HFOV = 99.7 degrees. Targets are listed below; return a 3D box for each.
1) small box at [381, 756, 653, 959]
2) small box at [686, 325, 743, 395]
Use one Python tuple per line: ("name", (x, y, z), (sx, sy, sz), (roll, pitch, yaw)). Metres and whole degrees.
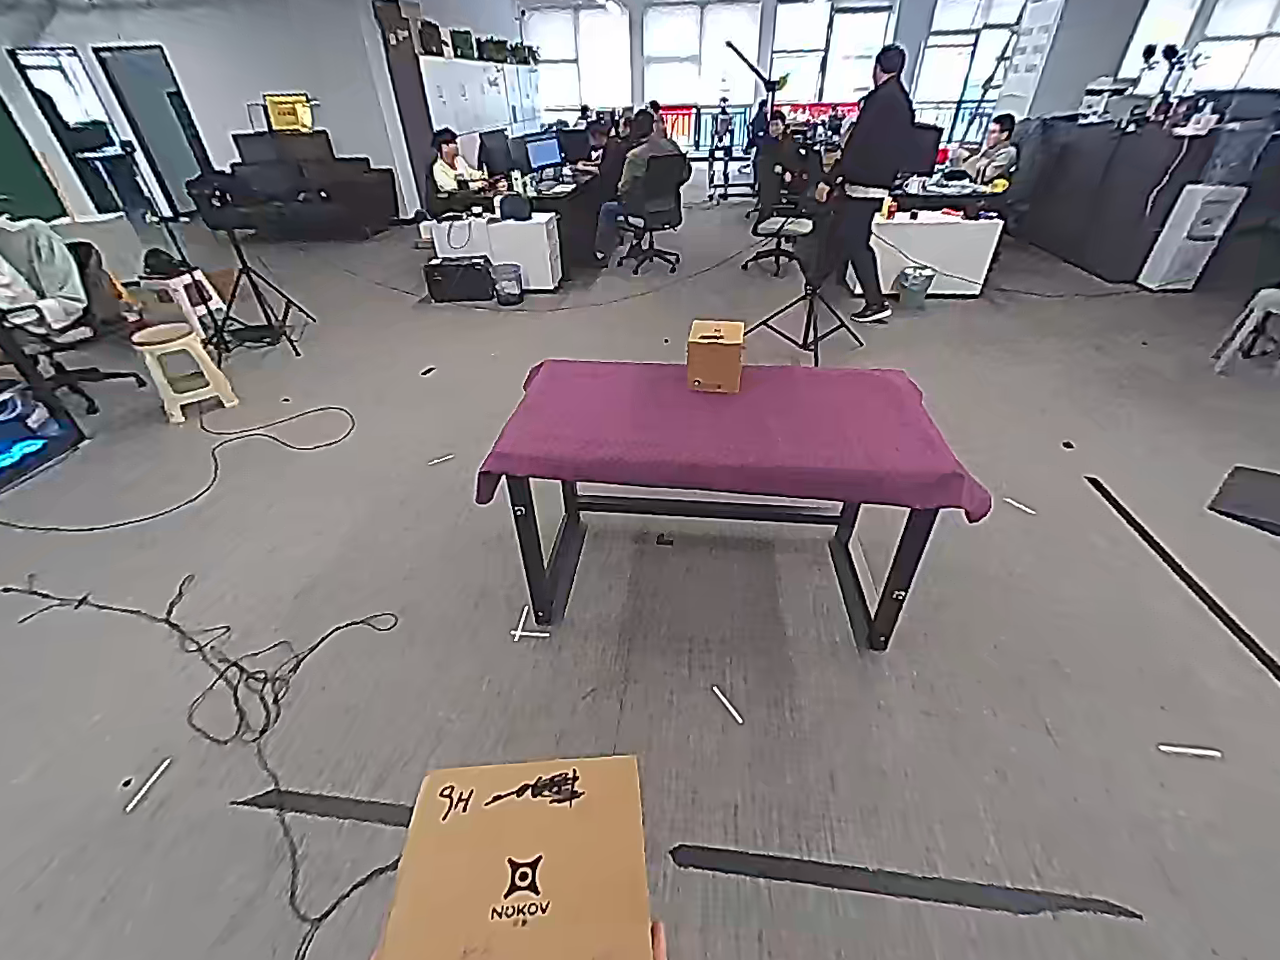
("small box", (-0.074, 0.335, 0.393), (0.168, 0.176, 0.179), (-2, 33, -4))
("small box", (0.239, -0.385, 1.735), (0.168, 0.176, 0.179), (5, 37, 9))
